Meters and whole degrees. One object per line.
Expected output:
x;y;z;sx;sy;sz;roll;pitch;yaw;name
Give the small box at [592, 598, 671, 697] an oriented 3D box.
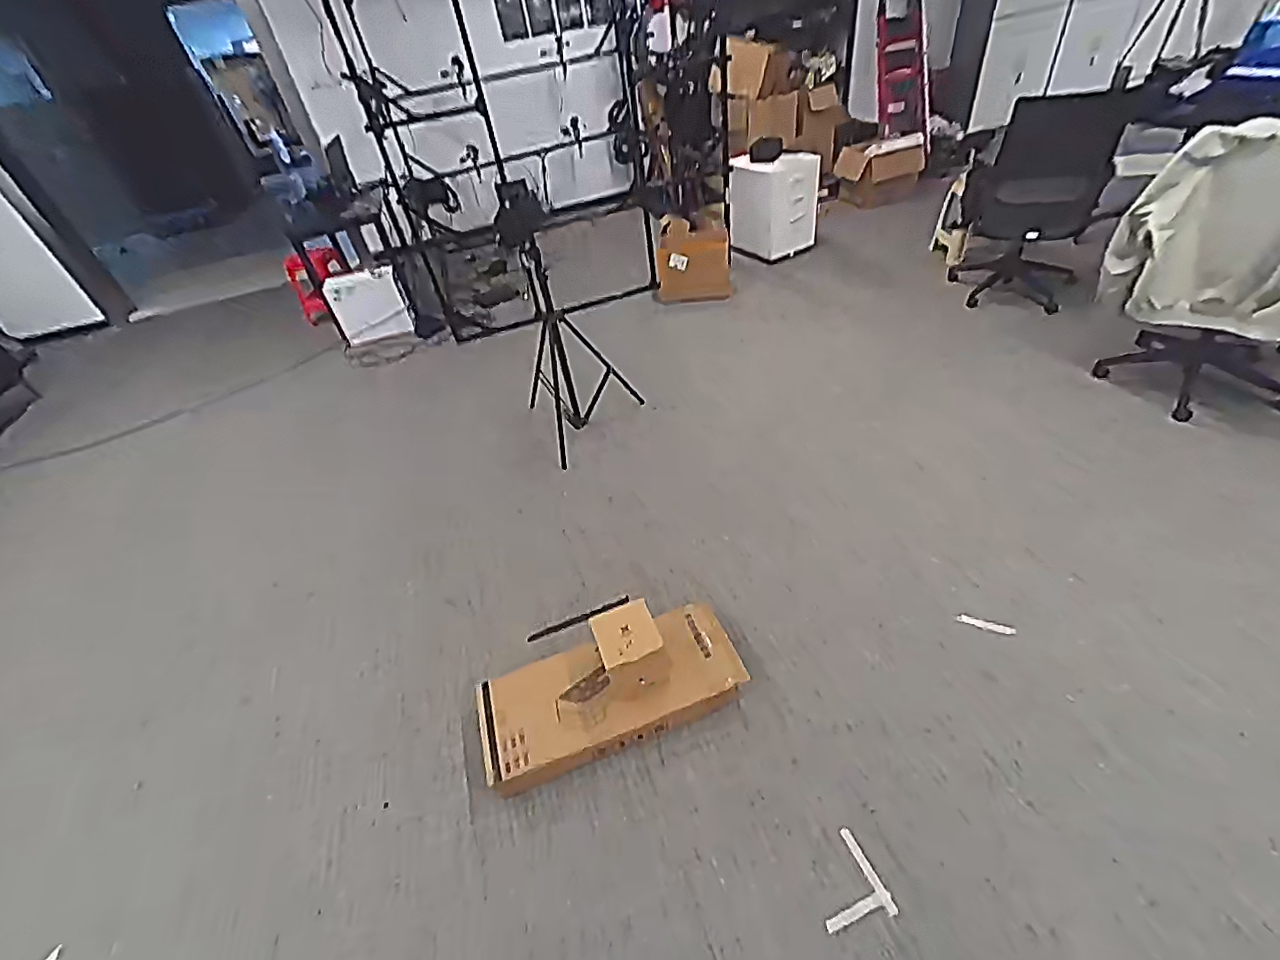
-0.023;0.468;1.510;0.168;0.176;0.179;-20;41;-10;small box
